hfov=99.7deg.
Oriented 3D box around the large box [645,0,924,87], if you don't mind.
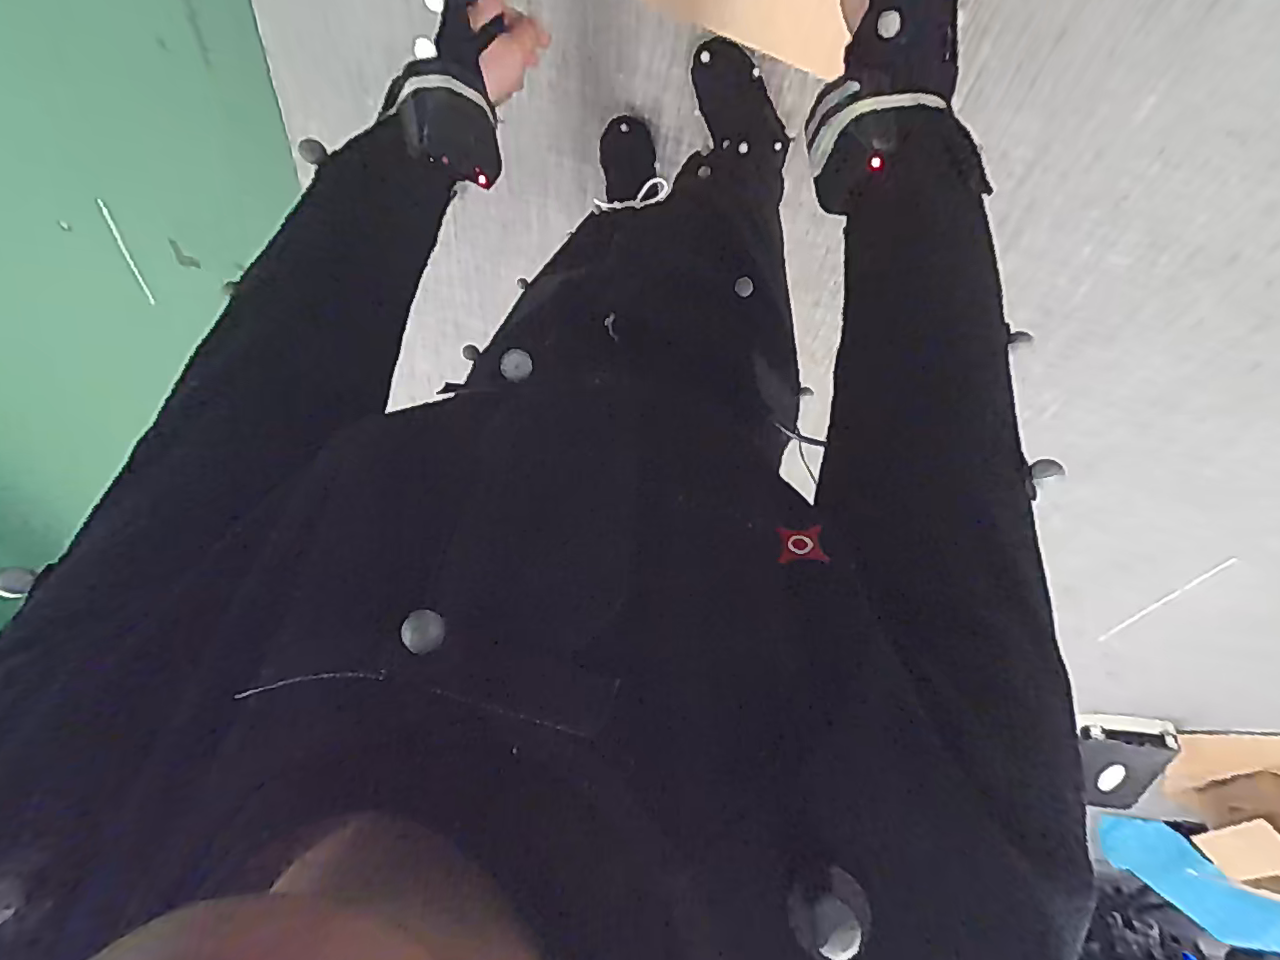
[{"bbox_3d":[0.192,-0.768,0.677,0.408,0.320,0.320,20,138,-3],"label":"large box"}]
